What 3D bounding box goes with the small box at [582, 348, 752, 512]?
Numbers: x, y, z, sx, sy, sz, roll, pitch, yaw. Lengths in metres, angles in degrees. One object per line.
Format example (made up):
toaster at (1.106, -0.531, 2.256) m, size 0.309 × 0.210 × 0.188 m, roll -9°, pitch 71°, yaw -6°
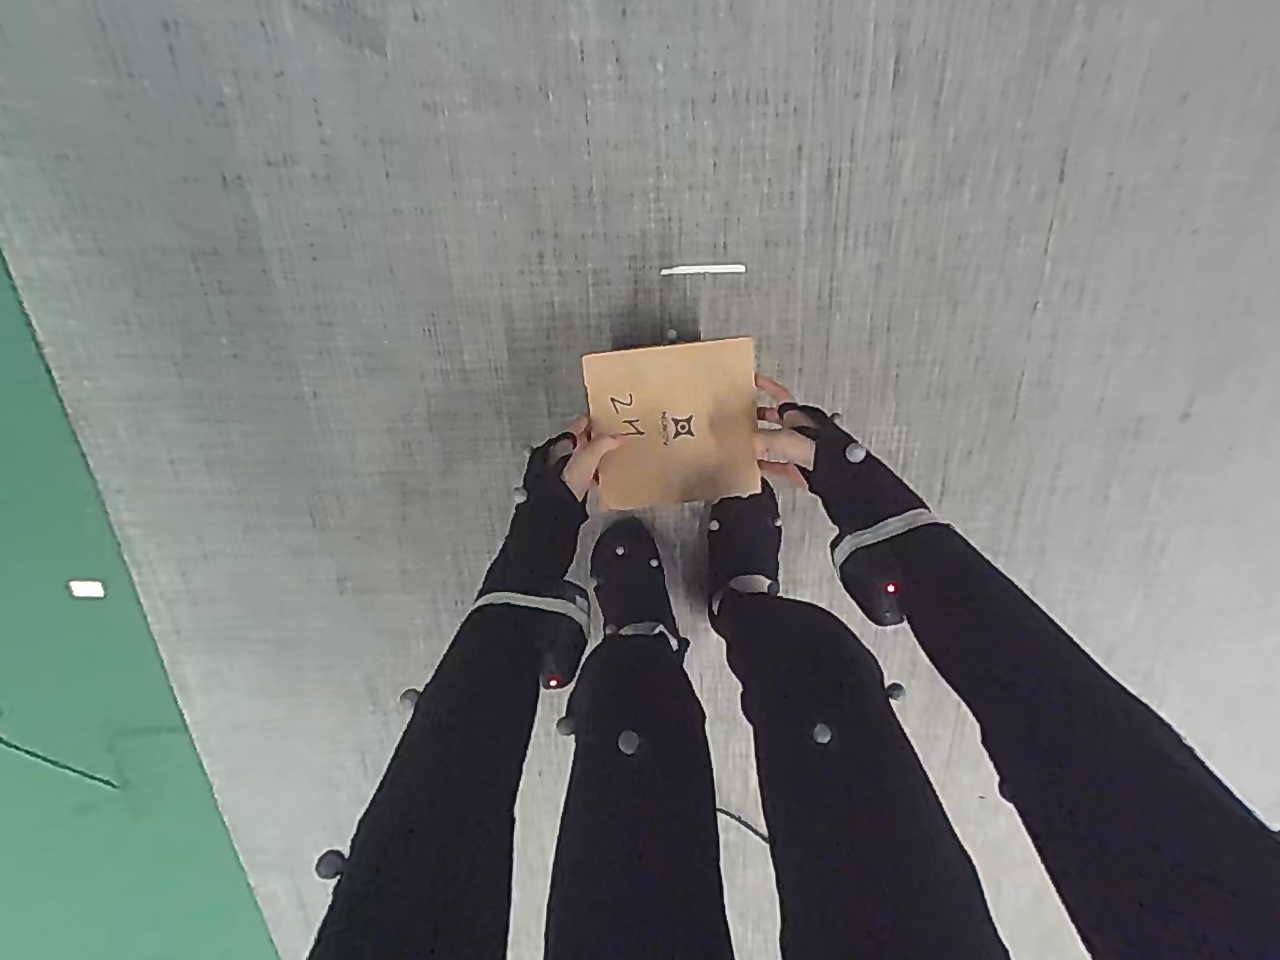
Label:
small box at (0.026, -0.069, 0.652) m, size 0.179 × 0.176 × 0.168 m, roll -6°, pitch 102°, yaw -2°
